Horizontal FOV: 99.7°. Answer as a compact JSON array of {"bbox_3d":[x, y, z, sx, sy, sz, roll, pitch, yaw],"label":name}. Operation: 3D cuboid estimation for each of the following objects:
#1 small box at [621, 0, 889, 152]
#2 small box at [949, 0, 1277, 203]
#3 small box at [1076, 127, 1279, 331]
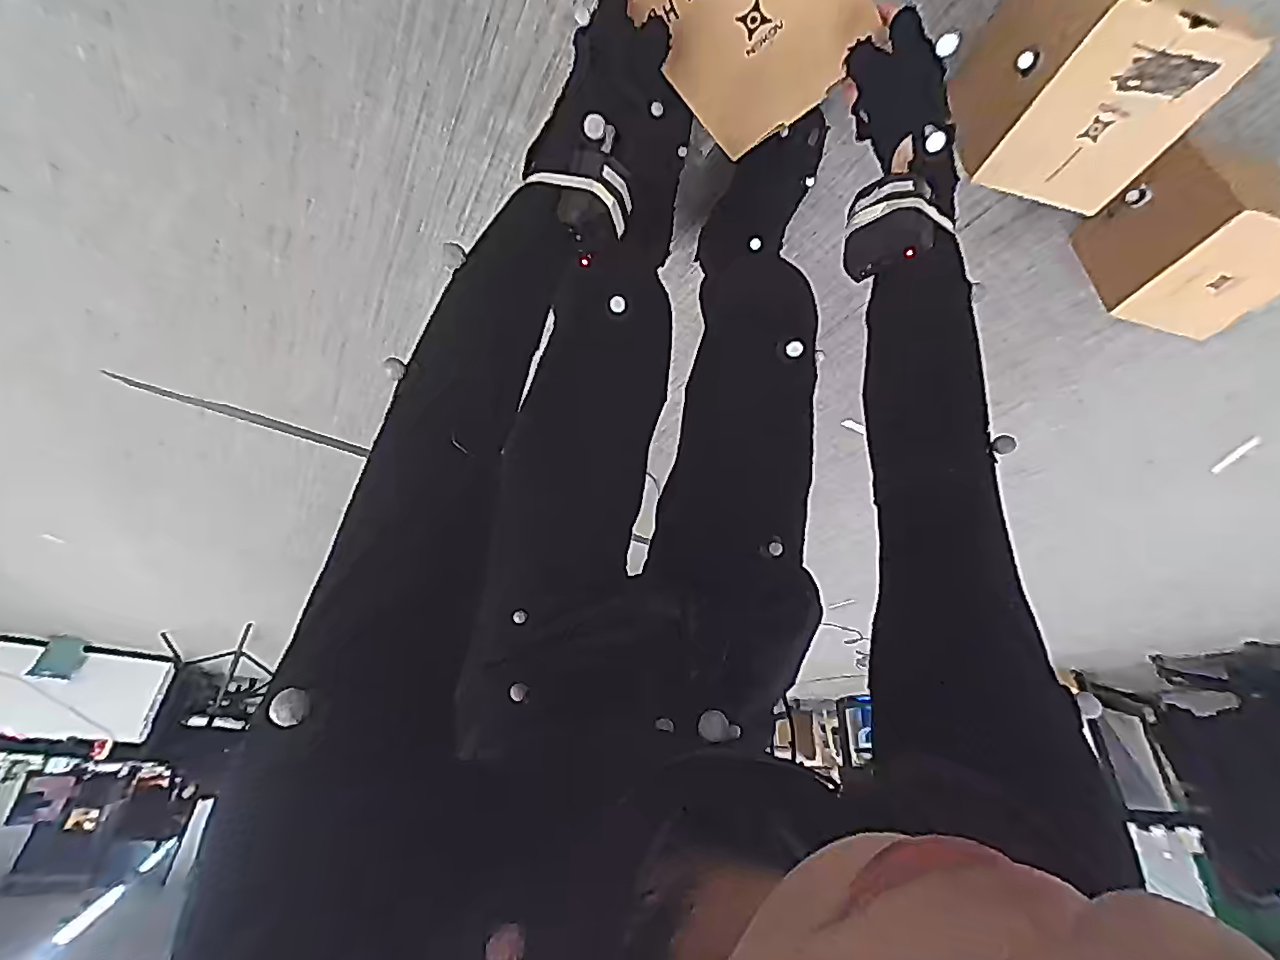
[{"bbox_3d":[0.100,-0.461,0.488,0.168,0.176,0.179,-22,147,36],"label":"small box"},{"bbox_3d":[0.464,-0.438,0.570,0.168,0.176,0.179,9,150,-9],"label":"small box"},{"bbox_3d":[0.749,-0.332,0.723,0.179,0.176,0.168,10,148,-10],"label":"small box"}]
